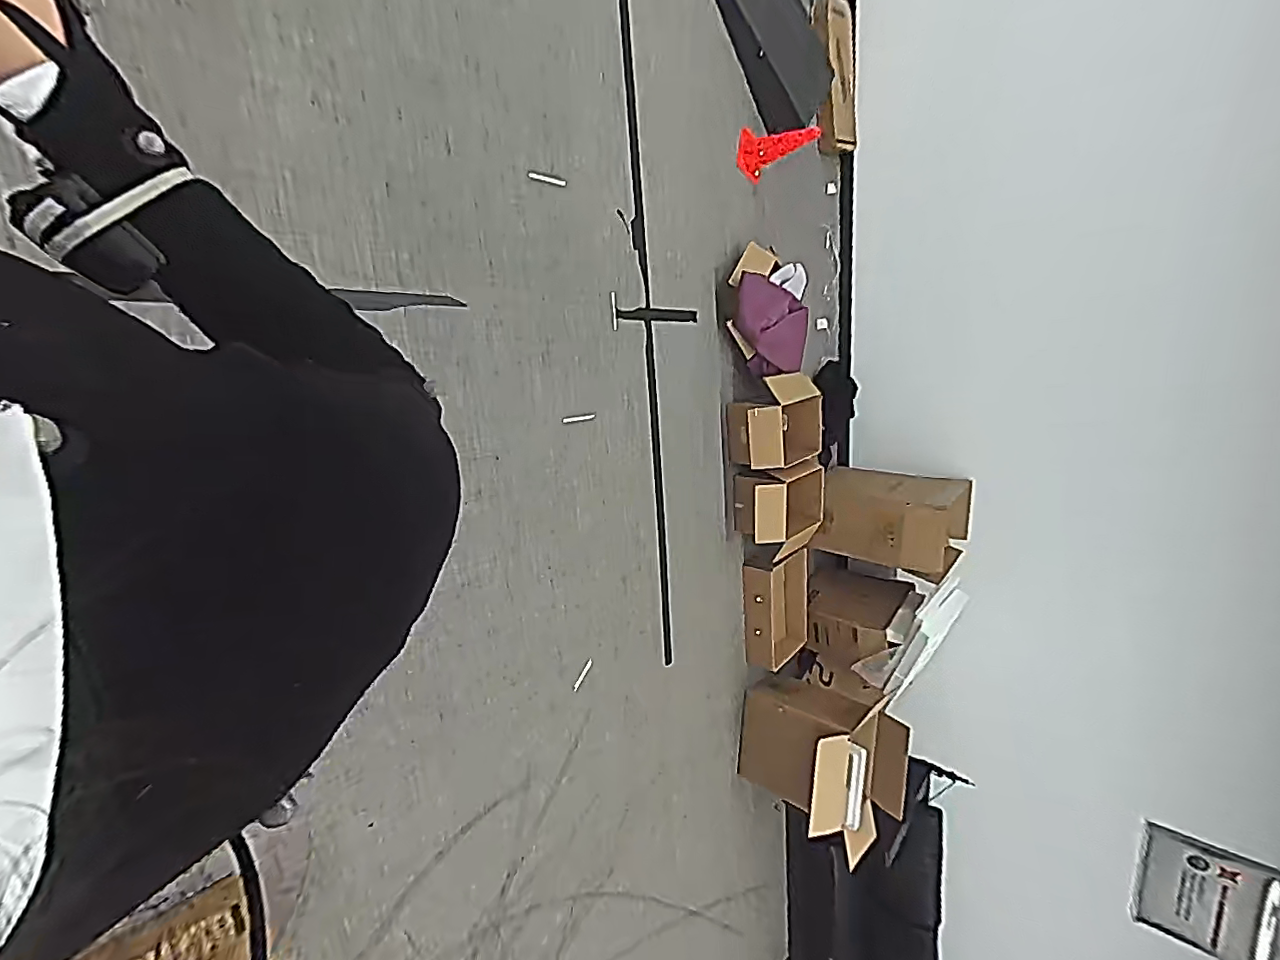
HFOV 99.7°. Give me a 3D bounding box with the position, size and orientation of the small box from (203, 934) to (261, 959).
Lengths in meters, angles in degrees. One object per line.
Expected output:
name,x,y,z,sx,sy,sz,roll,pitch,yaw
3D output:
small box,-0.908,1.161,1.176,0.168,0.176,0.179,-18,109,-45
